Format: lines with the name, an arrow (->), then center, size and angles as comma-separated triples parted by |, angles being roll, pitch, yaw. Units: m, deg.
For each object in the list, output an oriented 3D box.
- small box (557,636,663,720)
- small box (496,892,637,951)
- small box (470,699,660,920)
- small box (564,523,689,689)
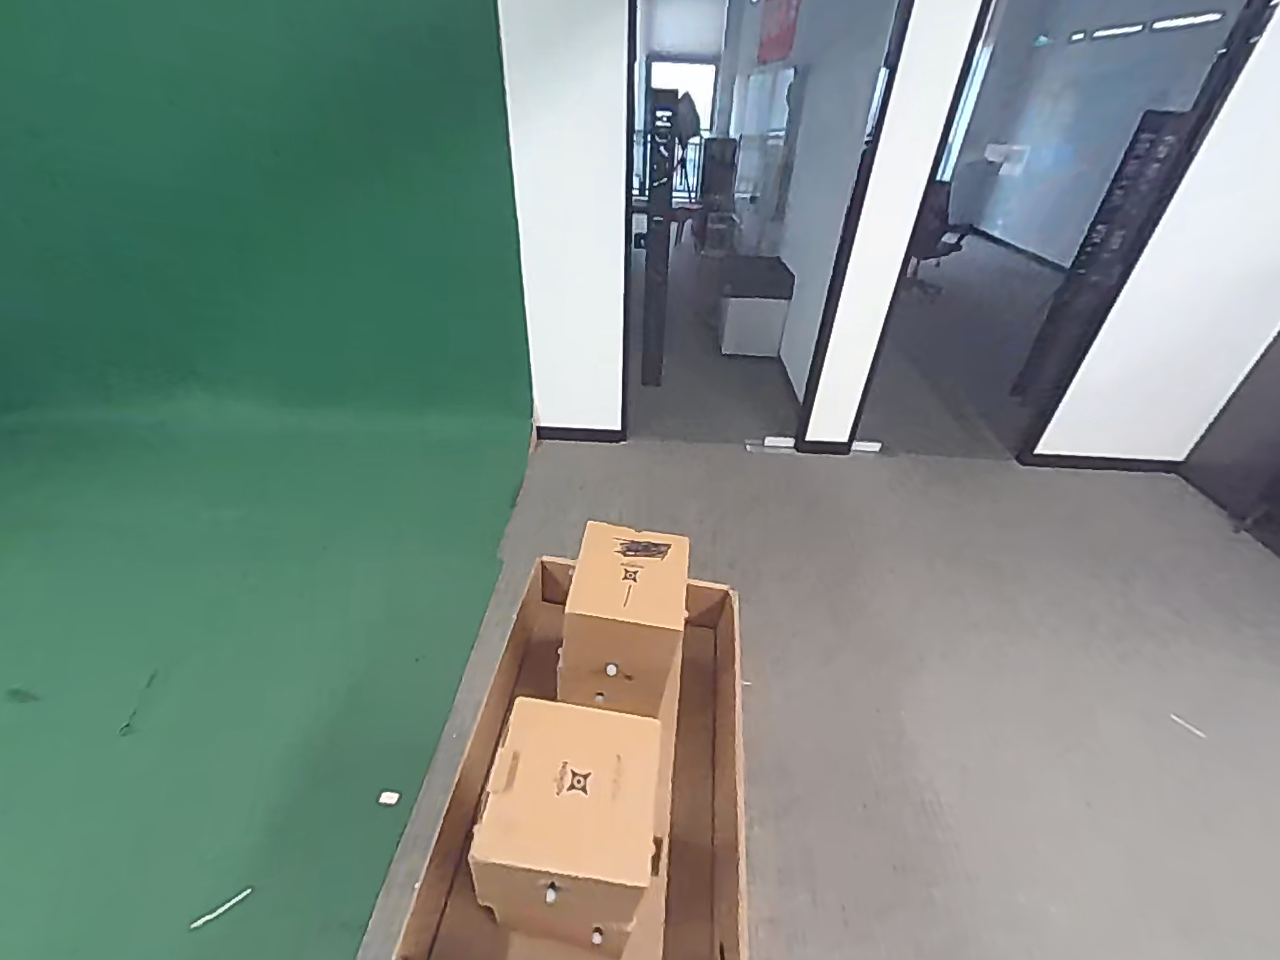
small box -> -0.044, 0.317, 0.959 | 0.179, 0.176, 0.168 | 10, 42, 2
small box -> -0.089, 0.505, 0.735 | 0.179, 0.176, 0.168 | 12, 40, 3
small box -> -0.080, 0.383, 0.628 | 0.179, 0.176, 0.168 | 10, 41, -1
small box -> -0.023, 0.197, 0.848 | 0.168, 0.176, 0.179 | 9, 42, 1
